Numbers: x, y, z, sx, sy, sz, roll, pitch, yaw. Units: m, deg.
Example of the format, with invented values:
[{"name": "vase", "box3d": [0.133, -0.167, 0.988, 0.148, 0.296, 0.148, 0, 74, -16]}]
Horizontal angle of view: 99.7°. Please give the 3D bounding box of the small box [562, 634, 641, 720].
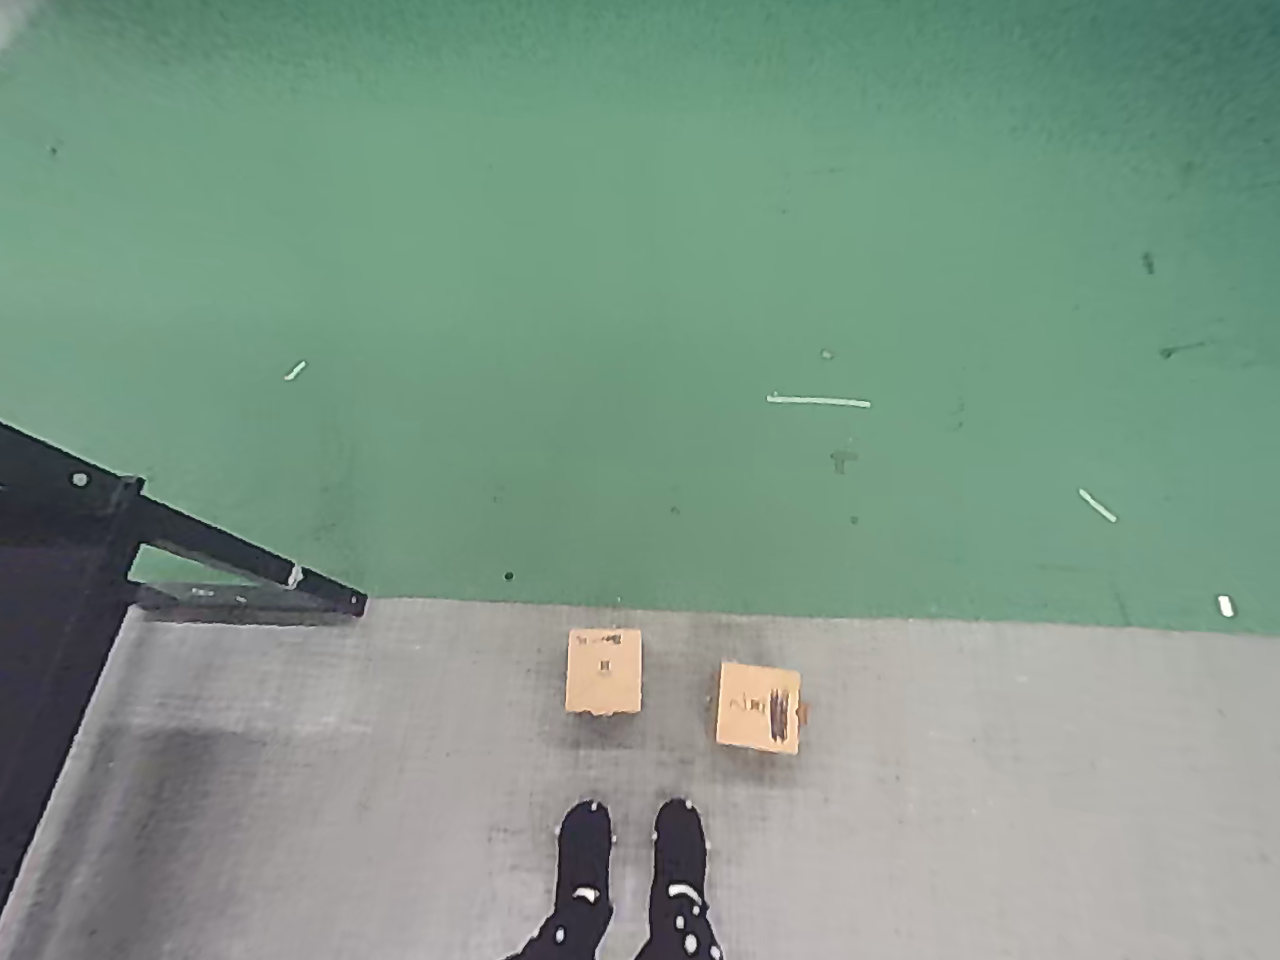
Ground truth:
[{"name": "small box", "box3d": [-0.081, 0.455, 1.245, 0.168, 0.176, 0.179, 1, 66, 0]}]
